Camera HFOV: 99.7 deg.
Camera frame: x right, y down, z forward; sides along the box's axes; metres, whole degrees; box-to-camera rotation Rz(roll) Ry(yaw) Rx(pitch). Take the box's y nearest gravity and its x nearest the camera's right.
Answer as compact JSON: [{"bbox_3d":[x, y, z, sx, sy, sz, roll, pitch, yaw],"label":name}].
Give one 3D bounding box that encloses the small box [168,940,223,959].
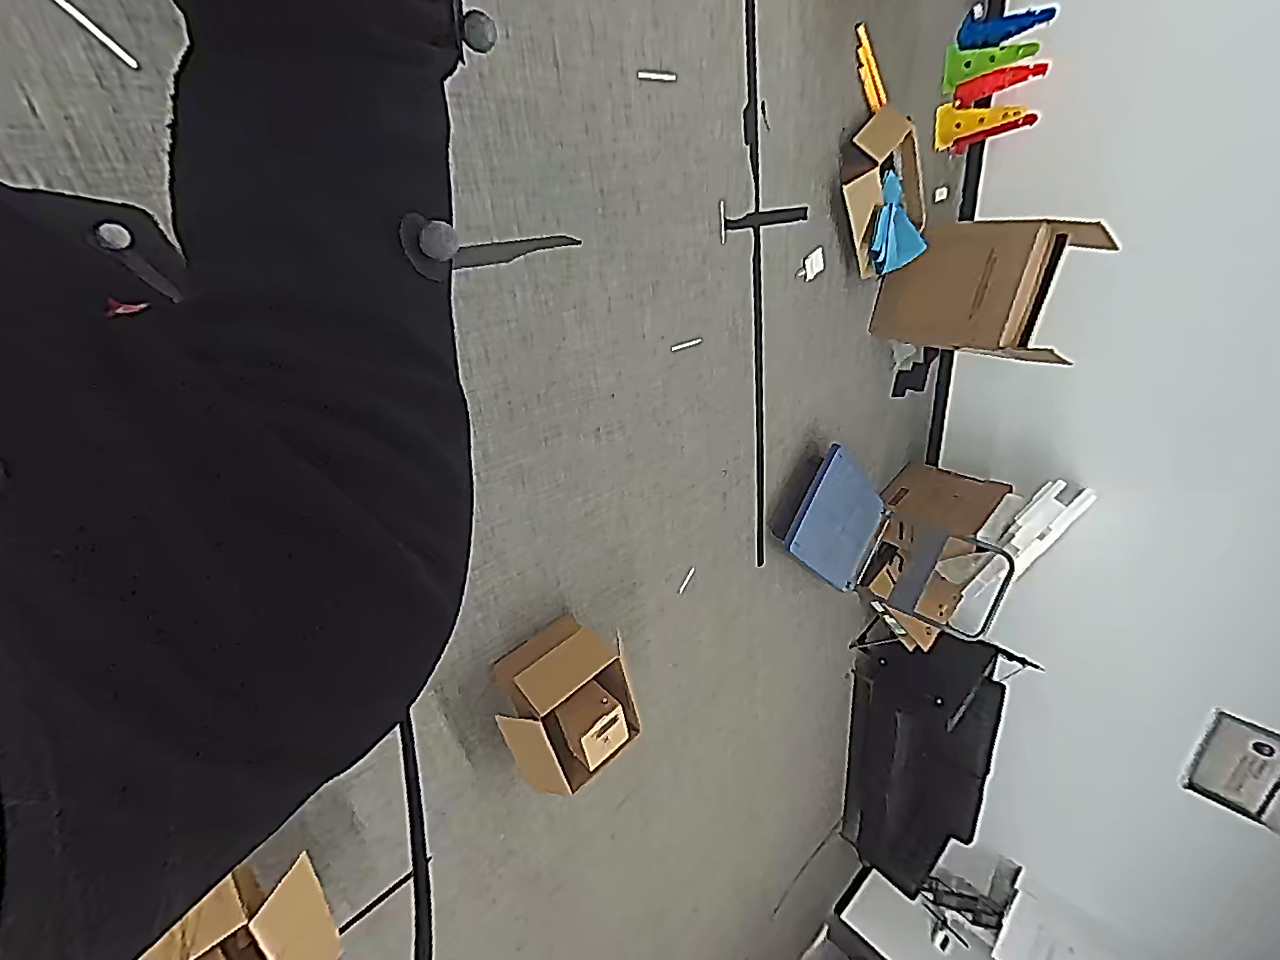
[{"bbox_3d":[-0.975,1.142,1.141,0.168,0.176,0.179,-18,118,-35],"label":"small box"}]
